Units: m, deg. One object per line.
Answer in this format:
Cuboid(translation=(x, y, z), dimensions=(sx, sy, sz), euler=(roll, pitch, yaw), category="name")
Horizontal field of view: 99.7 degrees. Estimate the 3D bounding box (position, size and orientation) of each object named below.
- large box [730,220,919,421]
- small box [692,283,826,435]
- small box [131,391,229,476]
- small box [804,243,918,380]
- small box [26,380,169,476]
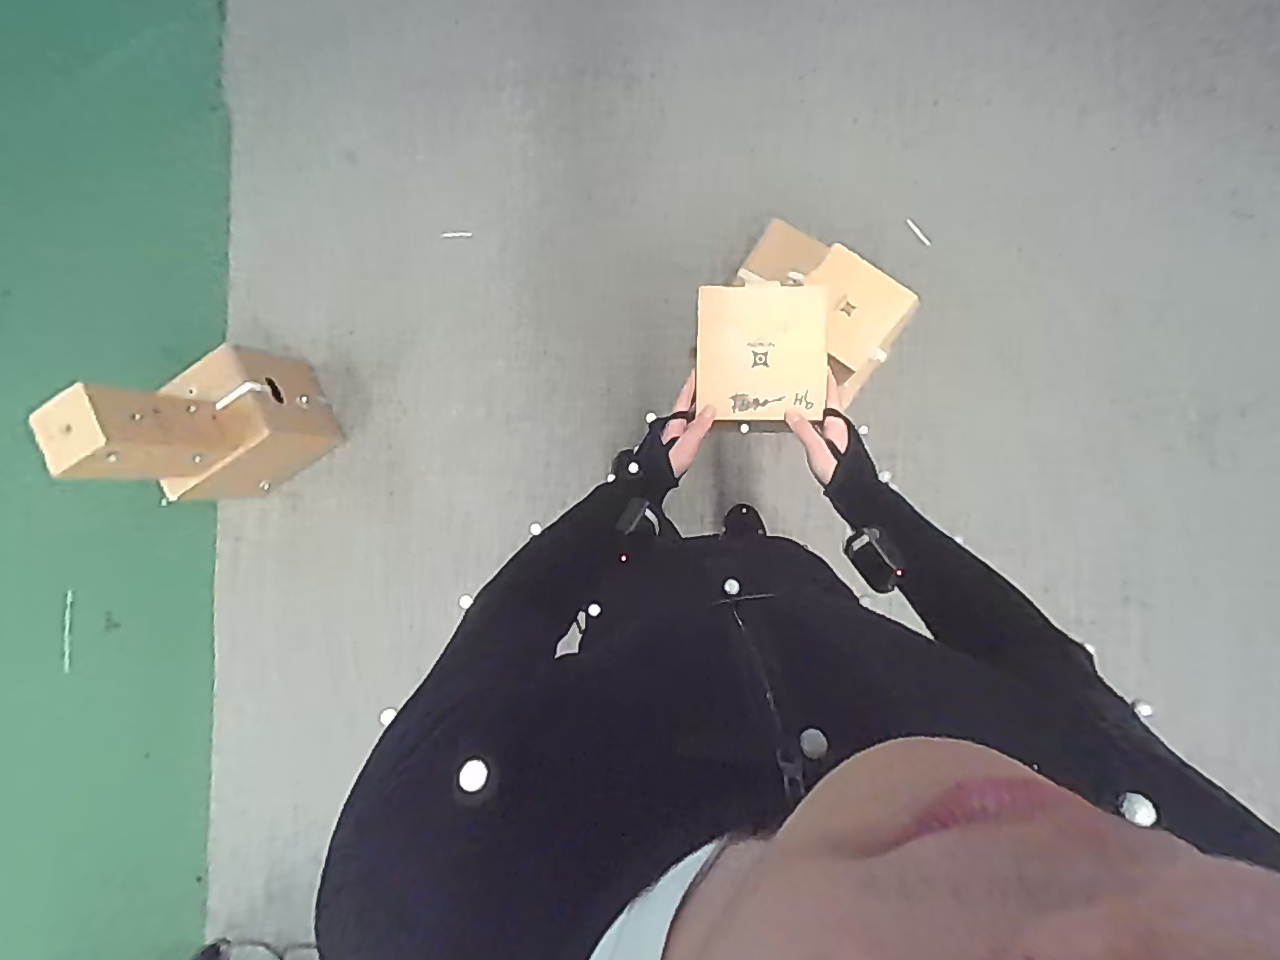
Cuboid(translation=(0.430, -0.396, 1.433), dimensions=(0.408, 0.320, 0.320), euler=(35, 95, 9), category="large box")
Cuboid(translation=(0.158, -0.160, 0.762), dimensions=(0.168, 0.176, 0.179), euler=(1, 89, 6), category="small box")
Cuboid(translation=(-1.278, -0.123, 1.482), dimensions=(0.179, 0.176, 0.168), euler=(-29, 86, 9), category="small box")
Cuboid(translation=(0.381, -0.306, 1.028), dimensions=(0.179, 0.176, 0.168), euler=(39, 98, 9), category="small box")
Cuboid(translation=(-1.306, -0.121, 1.319), dimensions=(0.179, 0.176, 0.168), euler=(-27, 85, 9), category="small box")
